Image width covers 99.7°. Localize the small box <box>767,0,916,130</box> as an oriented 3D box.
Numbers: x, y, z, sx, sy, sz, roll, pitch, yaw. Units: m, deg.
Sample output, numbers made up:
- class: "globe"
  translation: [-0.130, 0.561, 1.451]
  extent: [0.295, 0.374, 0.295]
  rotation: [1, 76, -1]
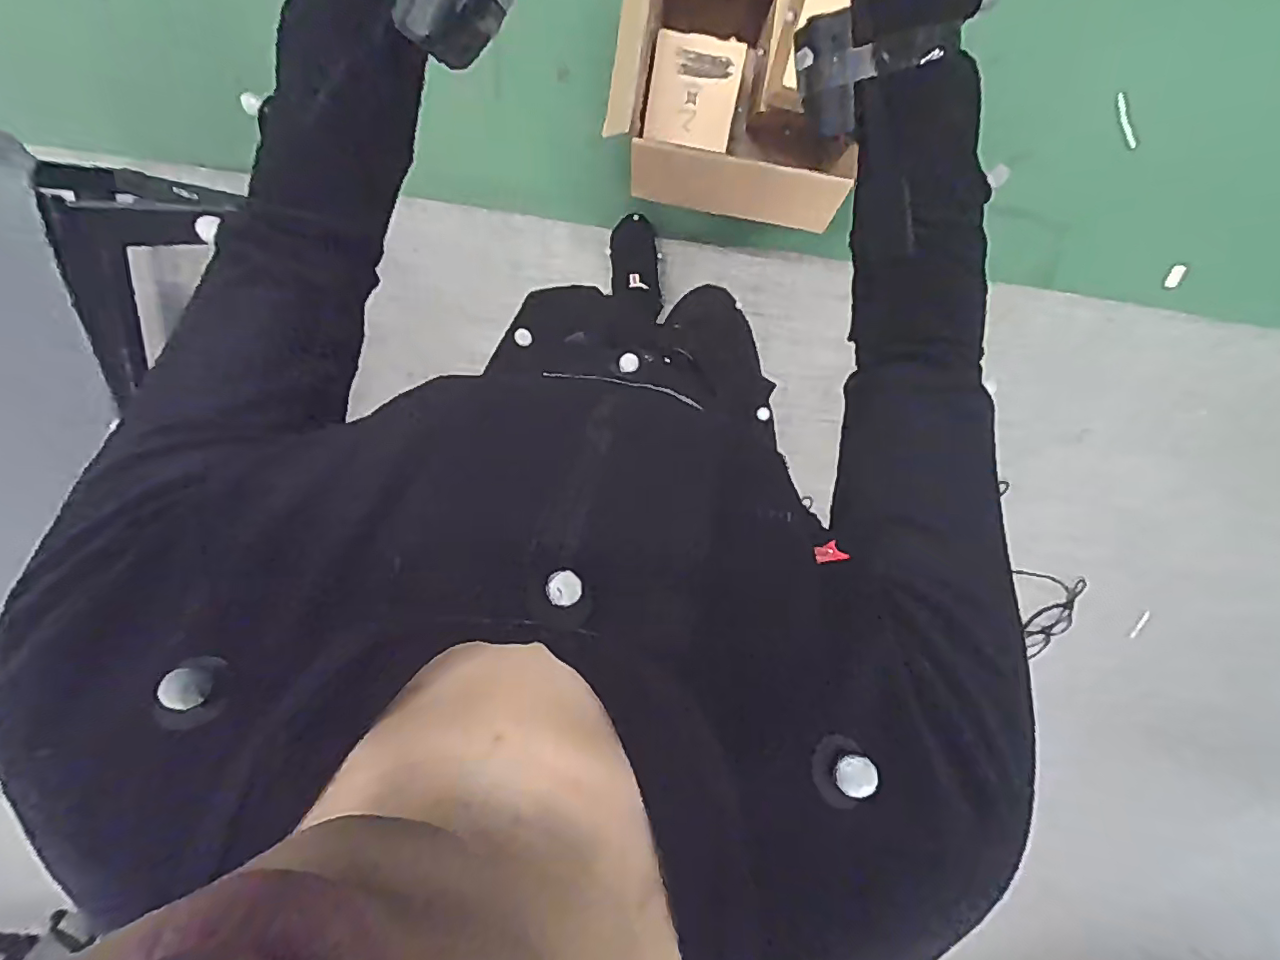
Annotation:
- class: "small box"
  translation: [0.321, -0.709, 0.900]
  extent: [0.168, 0.176, 0.179]
  rotation: [11, 114, -4]
